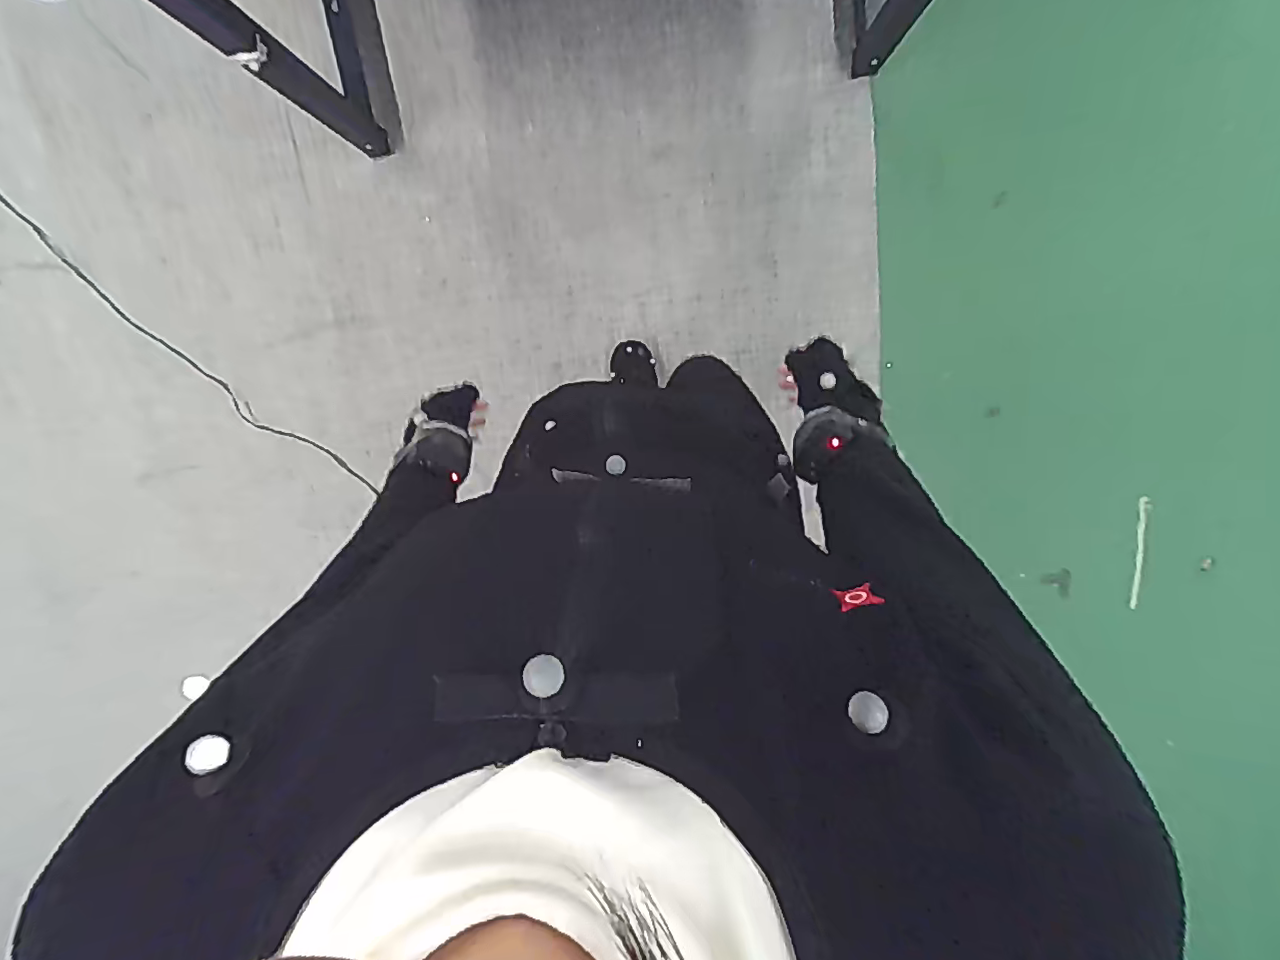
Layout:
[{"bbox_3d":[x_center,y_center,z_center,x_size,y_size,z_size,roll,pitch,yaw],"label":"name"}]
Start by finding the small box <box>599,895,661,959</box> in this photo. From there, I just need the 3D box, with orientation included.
[{"bbox_3d":[-0.027,1.403,1.644,0.168,0.176,0.179,-9,104,3],"label":"small box"}]
